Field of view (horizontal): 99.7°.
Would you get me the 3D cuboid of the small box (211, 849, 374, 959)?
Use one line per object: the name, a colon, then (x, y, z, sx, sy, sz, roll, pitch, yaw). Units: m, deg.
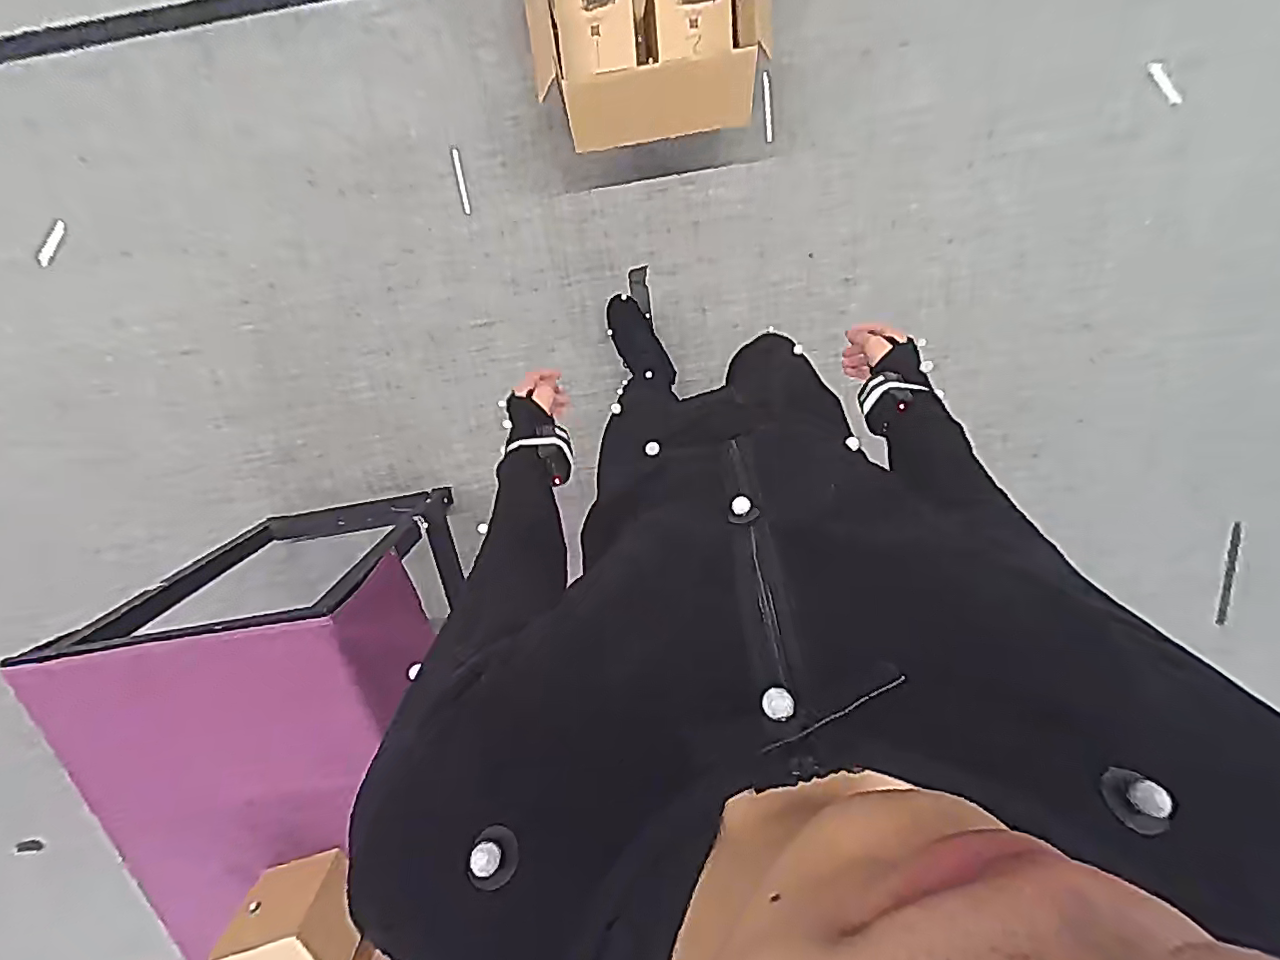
small box: (-0.670, 0.877, 1.065, 0.179, 0.176, 0.168, -18, 108, 4)
